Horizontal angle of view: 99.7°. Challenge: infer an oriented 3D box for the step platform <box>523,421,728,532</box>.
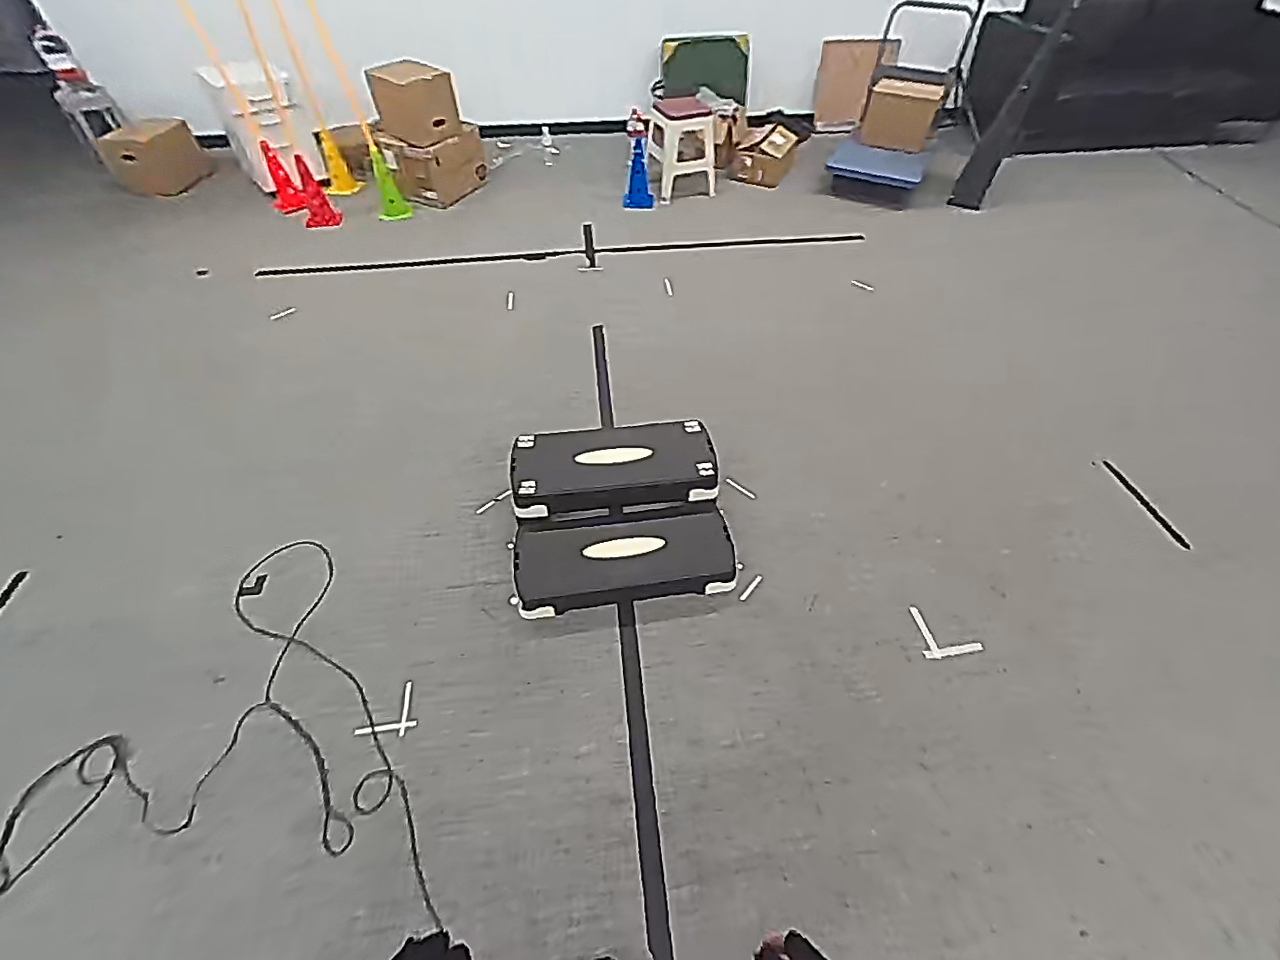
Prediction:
[{"bbox_3d":[-0.048,-0.022,1.835,0.684,0.204,0.286,-5,50,-6],"label":"step platform"}]
